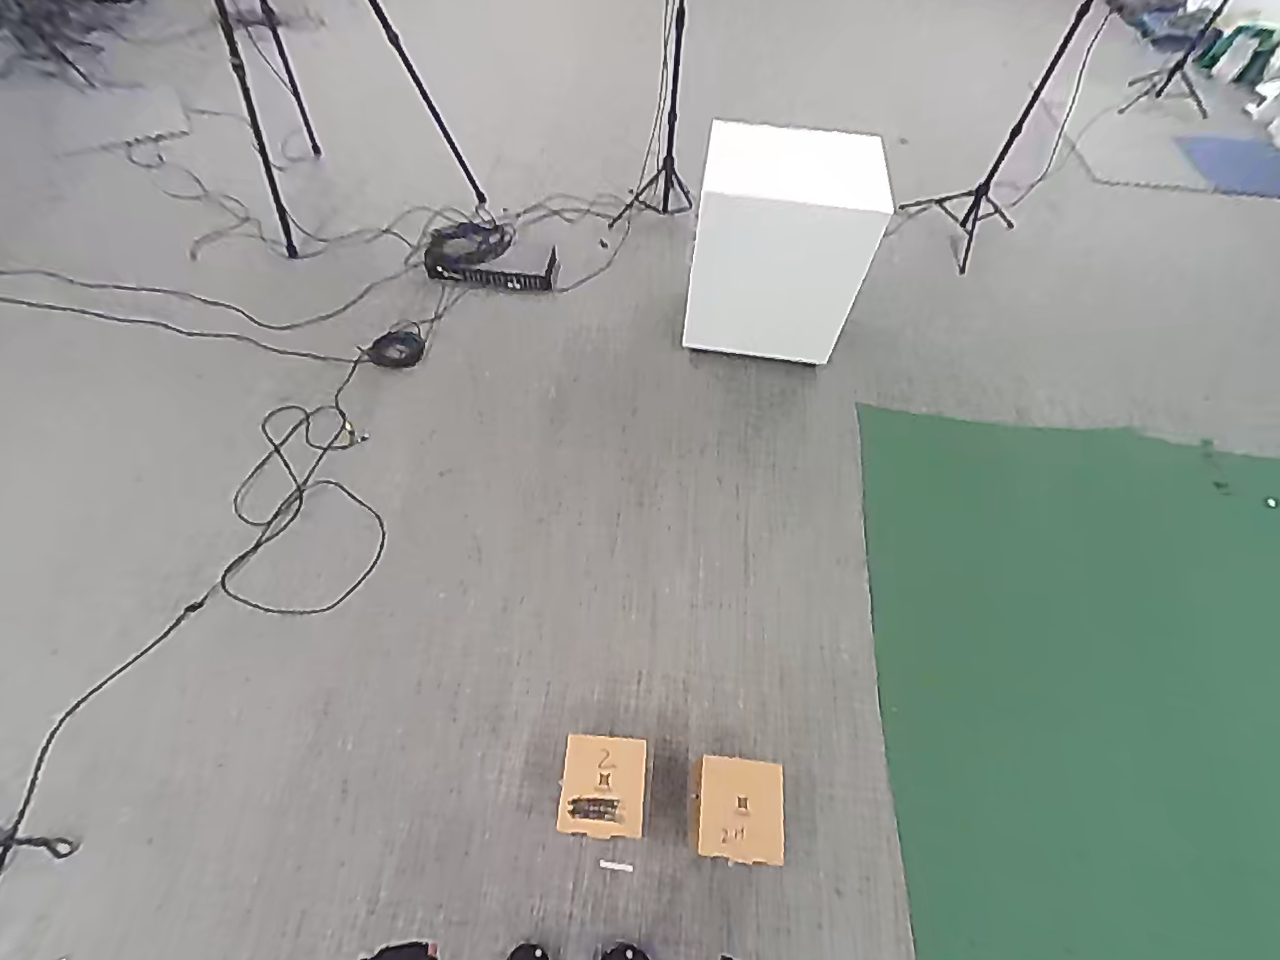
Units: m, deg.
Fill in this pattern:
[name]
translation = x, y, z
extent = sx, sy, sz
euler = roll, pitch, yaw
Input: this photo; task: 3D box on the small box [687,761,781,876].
[small box]
translation = 0.193, 0.709, 1.135
extent = 0.168, 0.176, 0.179
euler = 7, 57, 3
